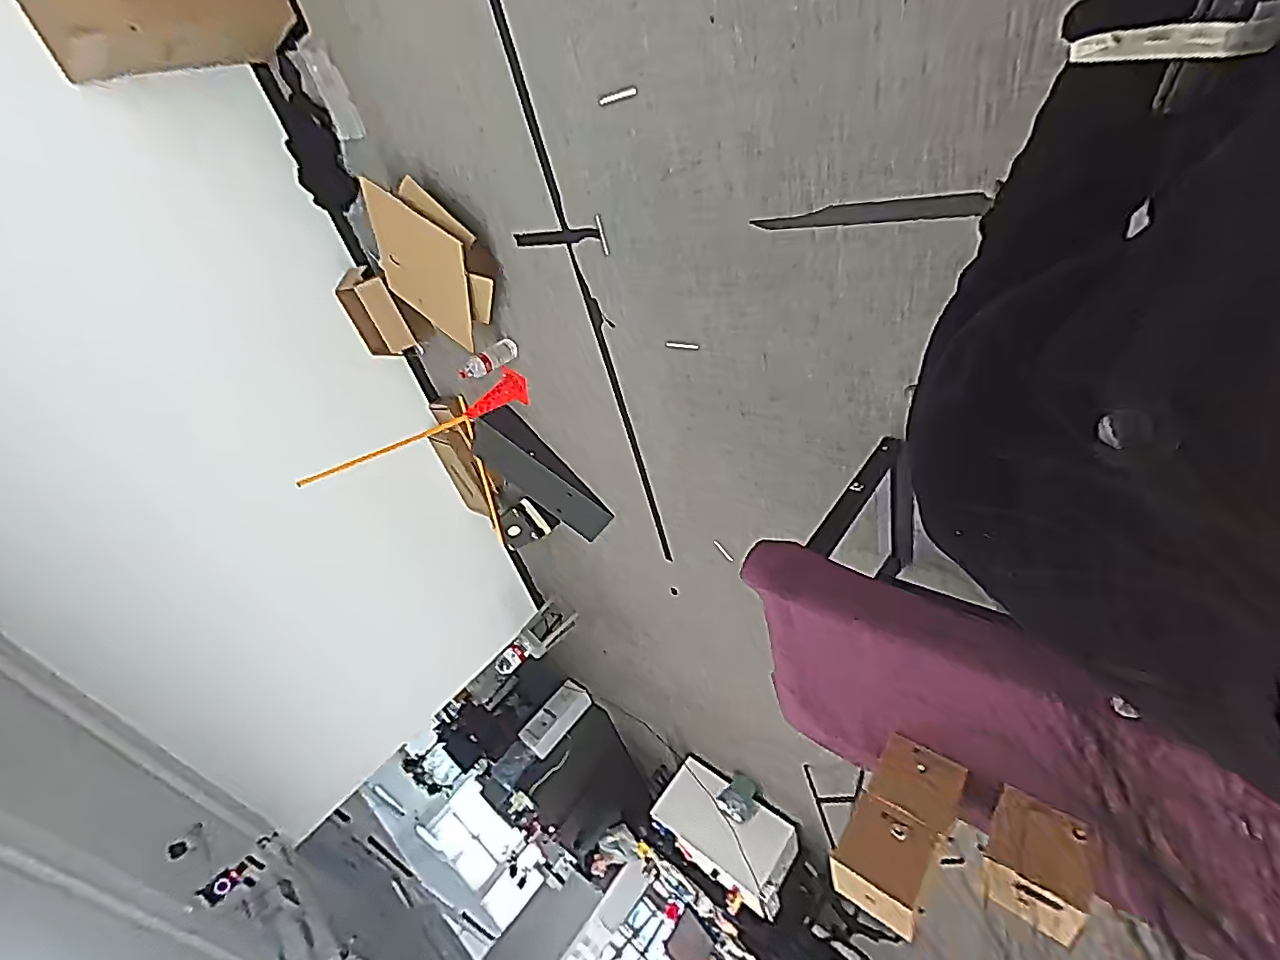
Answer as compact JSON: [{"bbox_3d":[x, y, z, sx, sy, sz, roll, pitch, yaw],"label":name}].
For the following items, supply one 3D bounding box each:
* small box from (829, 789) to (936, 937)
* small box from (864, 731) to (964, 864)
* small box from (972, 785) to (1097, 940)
[{"bbox_3d":[0.531,0.825,1.179,0.168,0.176,0.179,14,133,40],"label":"small box"},{"bbox_3d":[0.636,0.732,1.260,0.168,0.176,0.179,17,135,39],"label":"small box"},{"bbox_3d":[0.802,0.768,1.102,0.168,0.176,0.179,17,137,40],"label":"small box"}]
